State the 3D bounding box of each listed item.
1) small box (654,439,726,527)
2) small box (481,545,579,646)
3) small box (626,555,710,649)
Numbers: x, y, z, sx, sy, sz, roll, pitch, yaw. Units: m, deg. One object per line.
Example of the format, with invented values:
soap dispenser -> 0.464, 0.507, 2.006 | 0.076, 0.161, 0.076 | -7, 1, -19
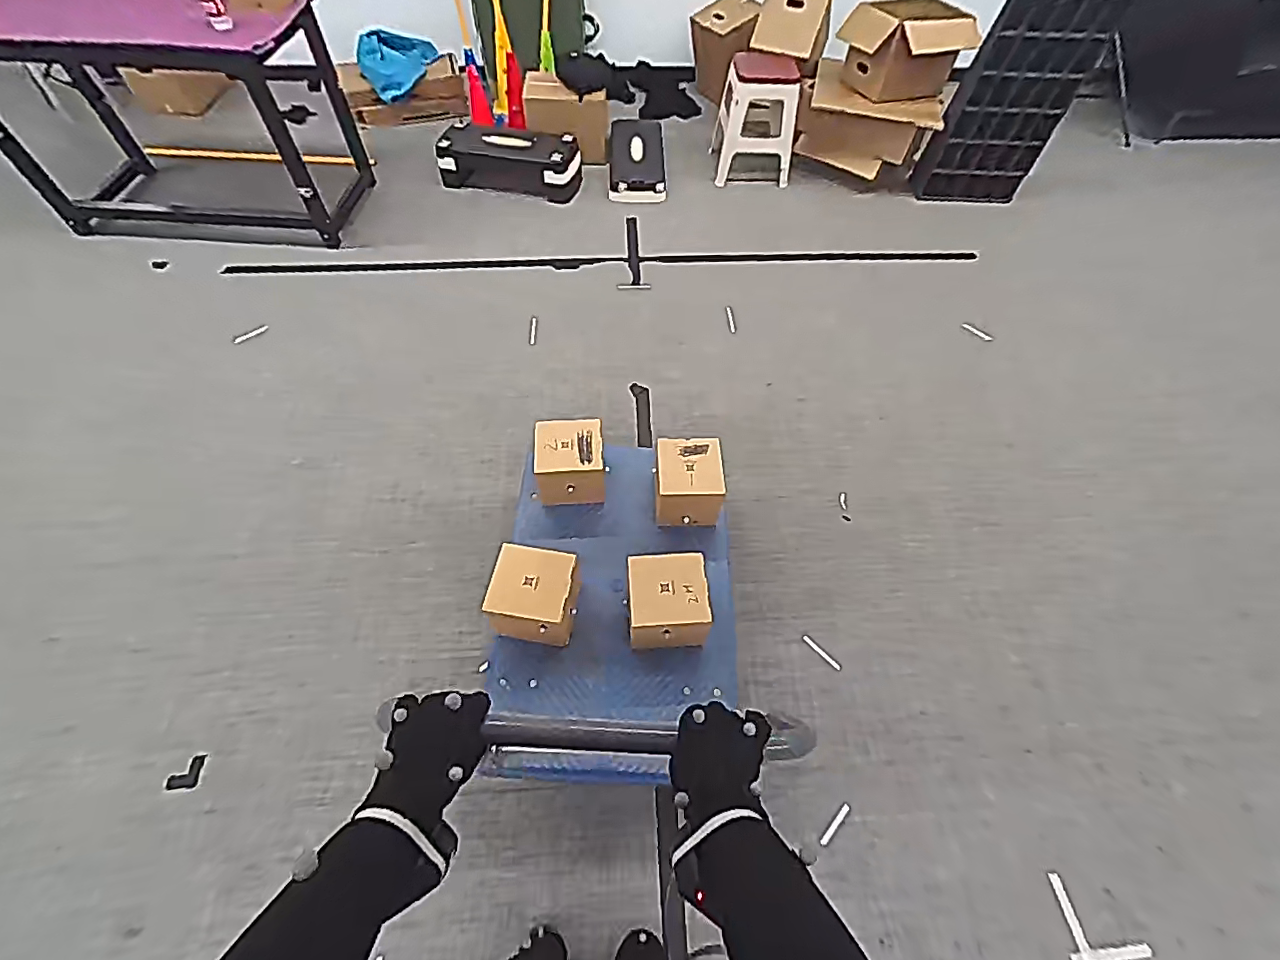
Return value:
small box -> 0.125, 0.010, 1.434 | 0.168, 0.176, 0.179 | 0, 58, -2
small box -> -0.245, 0.271, 1.252 | 0.179, 0.176, 0.168 | 9, 56, 2
small box -> 0.059, 0.286, 1.252 | 0.179, 0.176, 0.168 | -2, 57, -3
